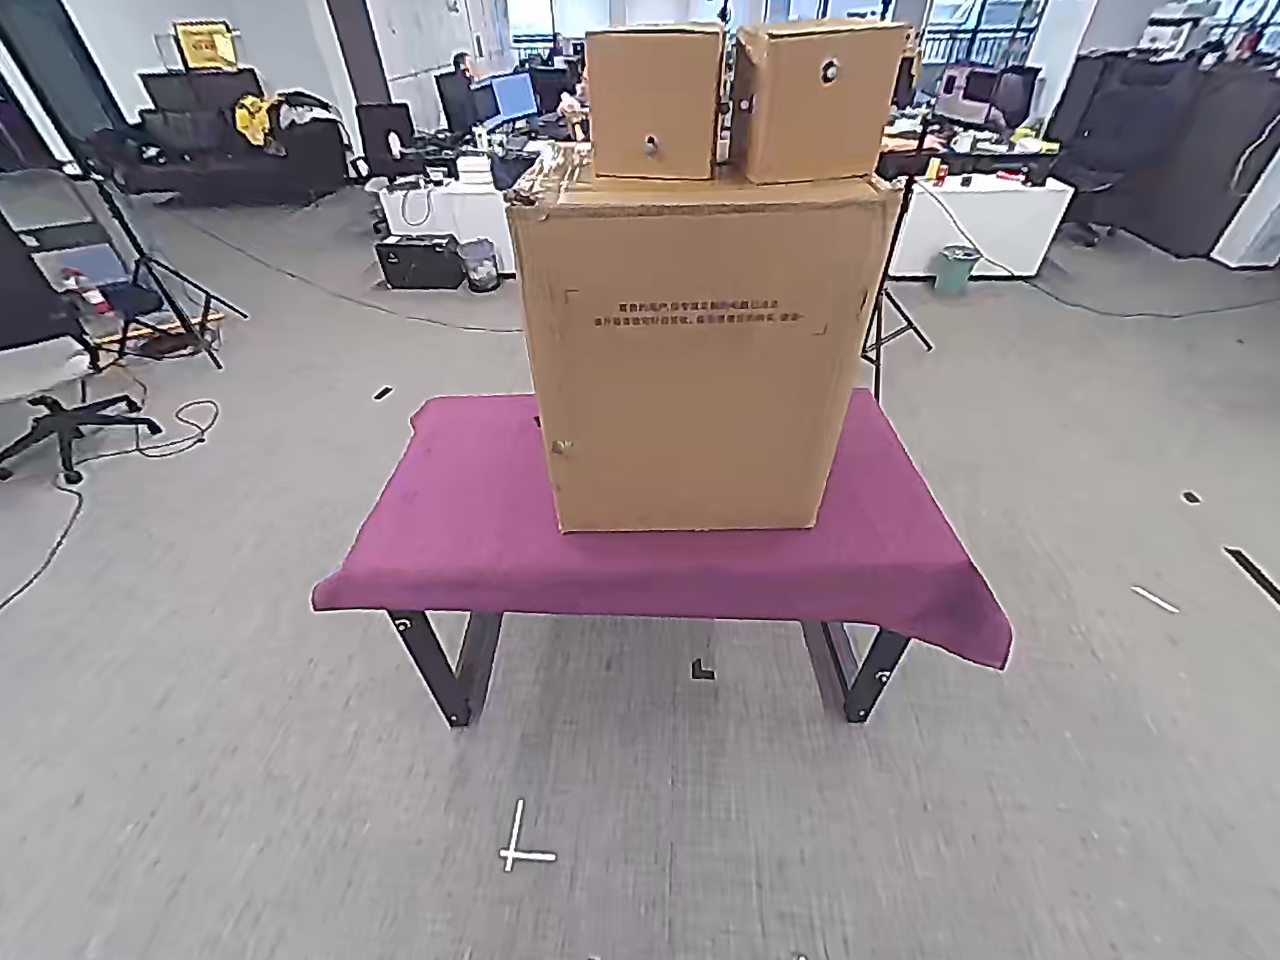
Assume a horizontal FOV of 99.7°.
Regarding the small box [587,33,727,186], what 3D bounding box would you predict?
[{"bbox_3d":[0.028,-0.548,0.804,0.179,0.176,0.168,7,41,7],"label":"small box"}]
